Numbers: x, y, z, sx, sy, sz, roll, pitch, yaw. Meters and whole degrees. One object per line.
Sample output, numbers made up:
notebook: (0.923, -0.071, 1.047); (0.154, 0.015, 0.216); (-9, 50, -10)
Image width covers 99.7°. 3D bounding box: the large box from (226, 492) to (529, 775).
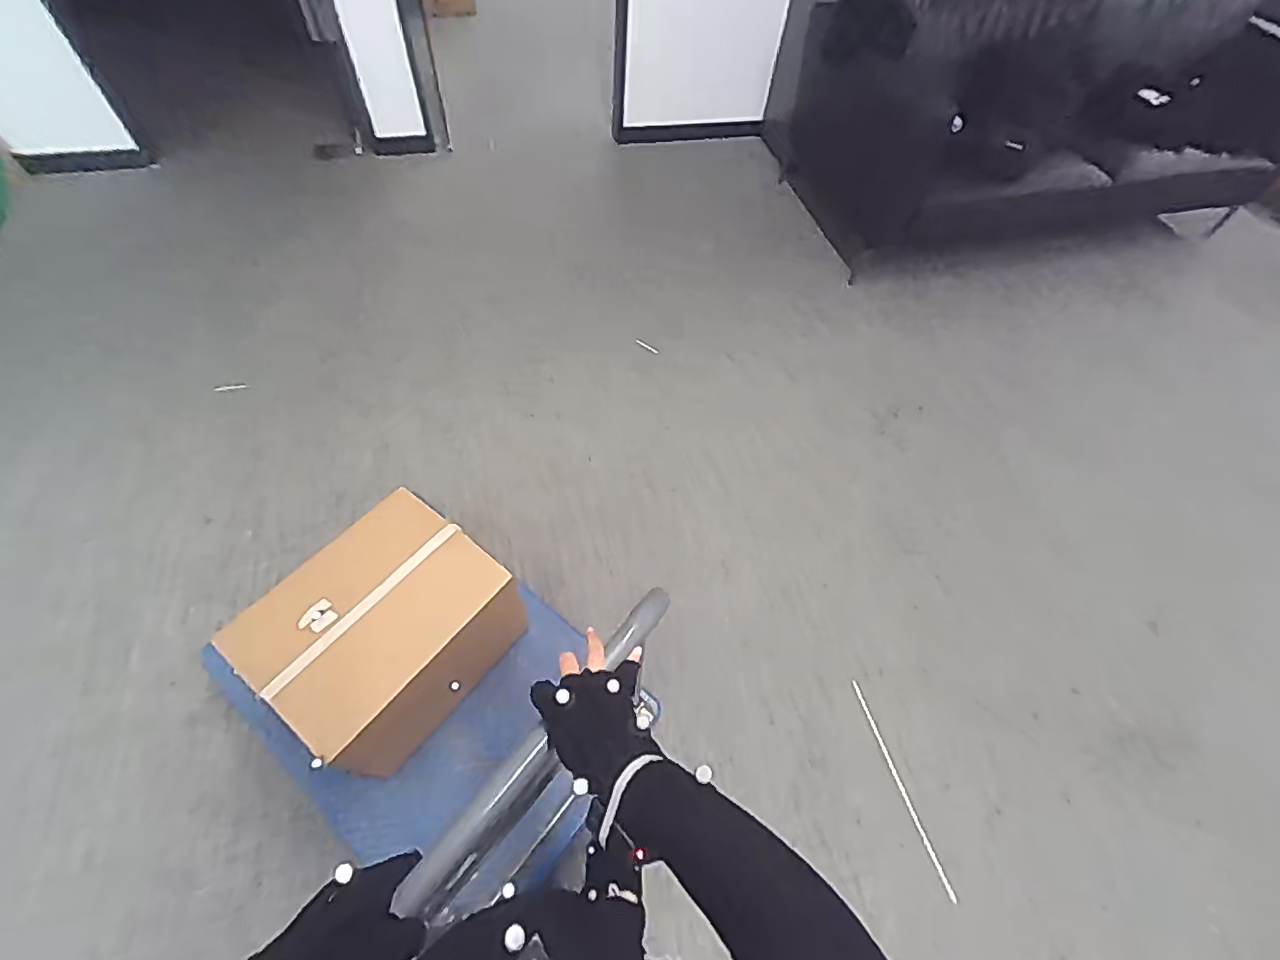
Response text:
large box: (-0.479, 0.310, 1.093); (0.320, 0.320, 0.408); (34, 61, 16)
